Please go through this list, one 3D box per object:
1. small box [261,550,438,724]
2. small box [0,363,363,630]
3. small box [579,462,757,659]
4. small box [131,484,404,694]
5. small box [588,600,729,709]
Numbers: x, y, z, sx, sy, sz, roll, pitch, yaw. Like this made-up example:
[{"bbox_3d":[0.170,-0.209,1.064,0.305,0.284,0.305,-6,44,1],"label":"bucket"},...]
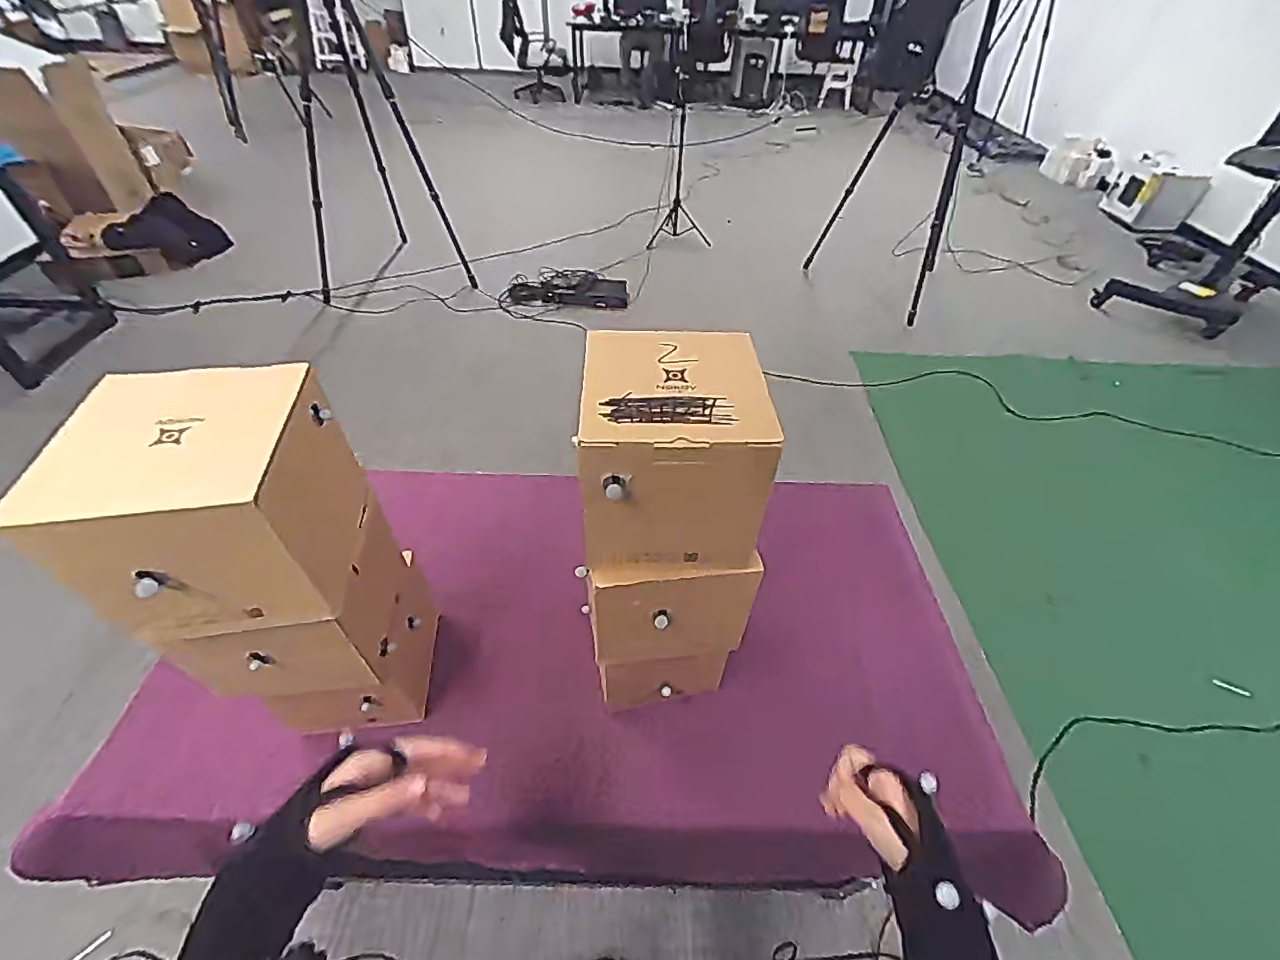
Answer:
[{"bbox_3d":[-0.389,0.219,0.743,0.168,0.176,0.179,-3,45,-6],"label":"small box"},{"bbox_3d":[-0.370,0.018,0.484,0.168,0.176,0.179,-6,46,-9],"label":"small box"},{"bbox_3d":[0.023,0.098,0.645,0.179,0.176,0.168,-4,46,-6],"label":"small box"},{"bbox_3d":[-0.385,0.123,0.608,0.179,0.176,0.168,-3,46,-6],"label":"small box"},{"bbox_3d":[0.015,0.199,0.776,0.168,0.176,0.179,-8,46,-9],"label":"small box"}]
